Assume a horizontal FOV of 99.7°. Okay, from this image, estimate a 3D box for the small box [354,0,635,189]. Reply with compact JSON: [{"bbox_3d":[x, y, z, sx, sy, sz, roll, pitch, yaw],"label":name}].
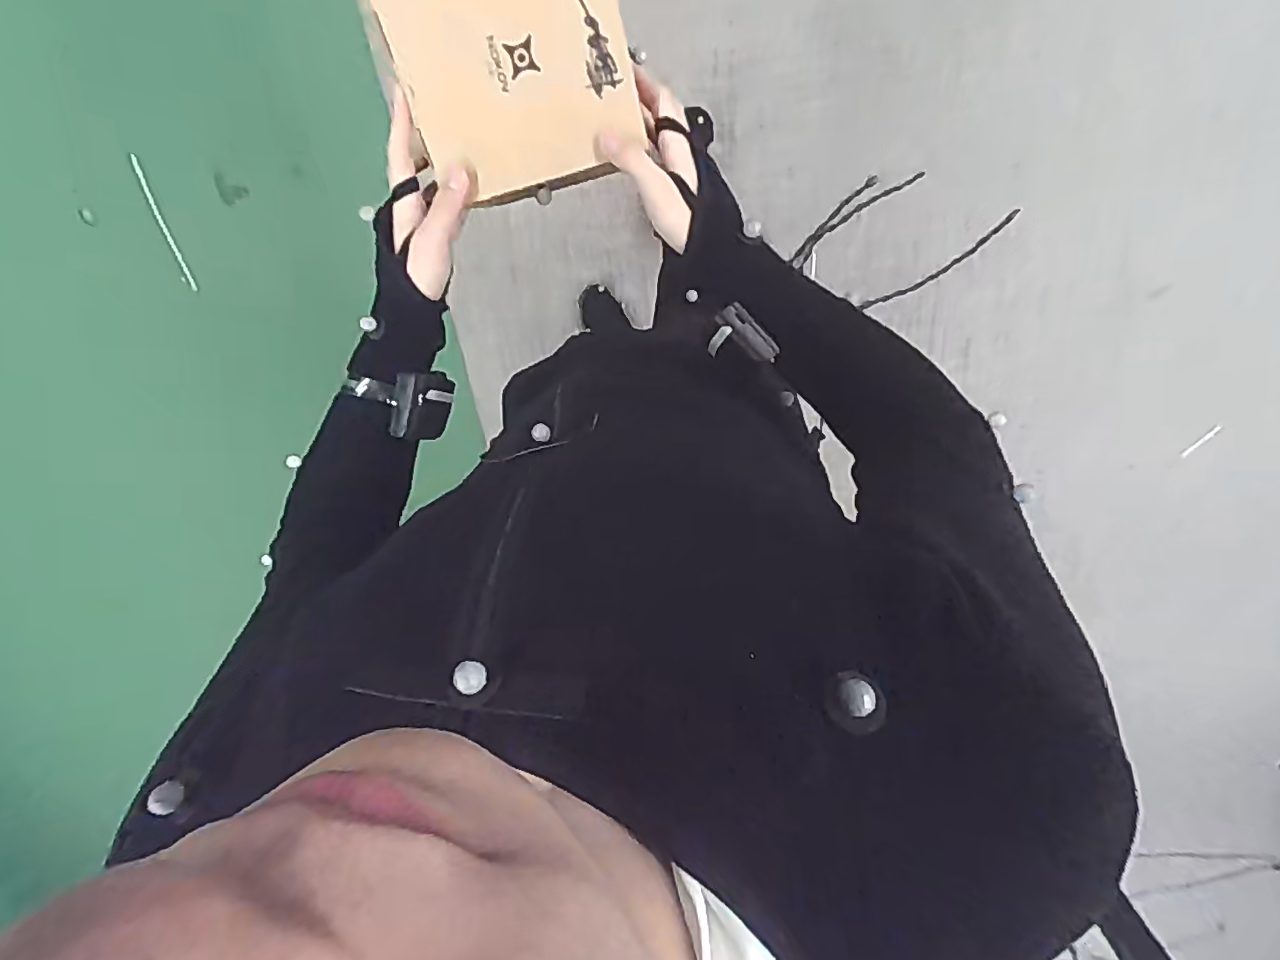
[{"bbox_3d":[-0.104,-0.350,0.451,0.179,0.176,0.168,-10,117,5],"label":"small box"}]
